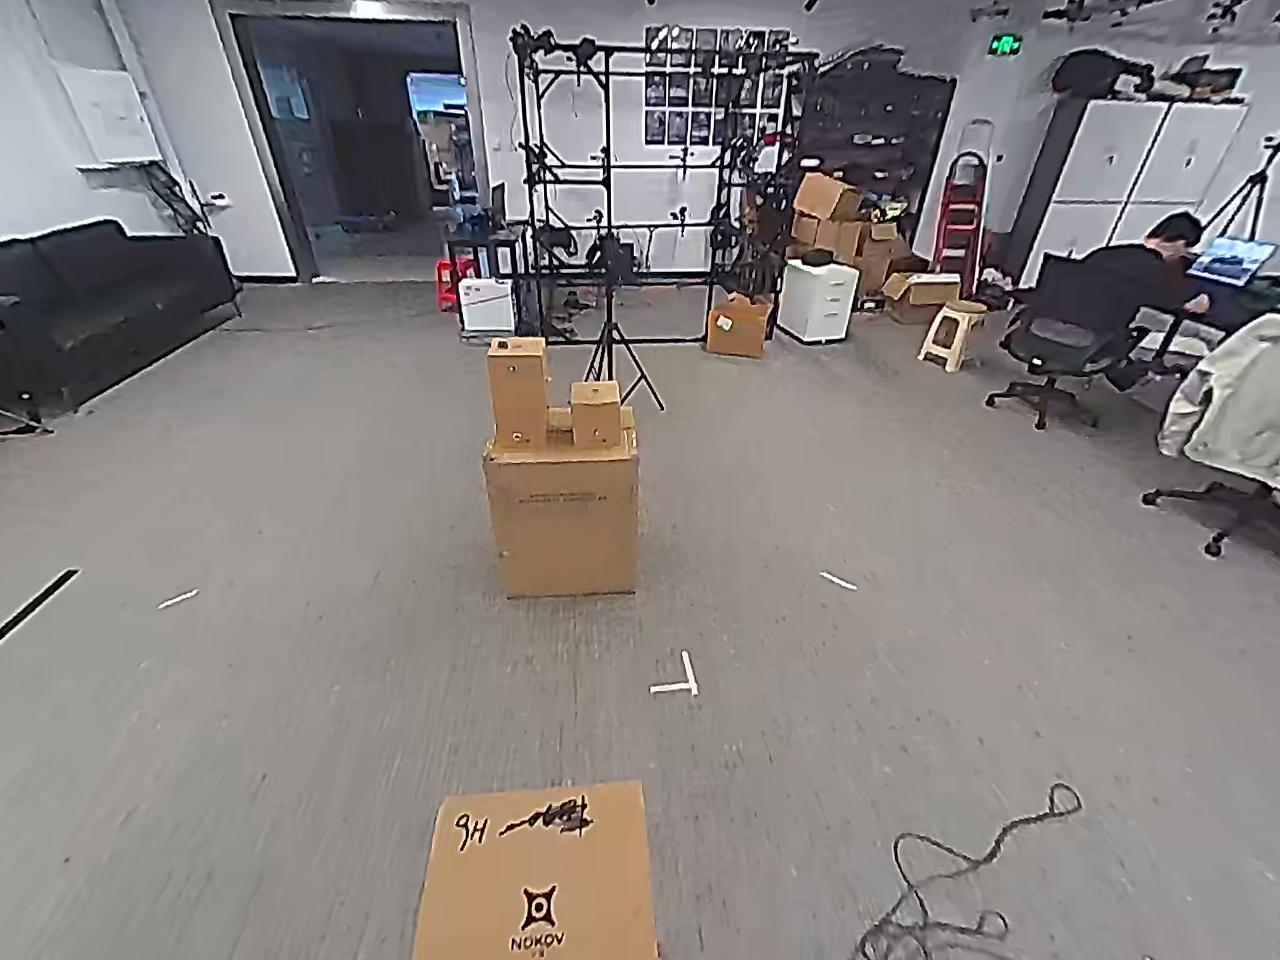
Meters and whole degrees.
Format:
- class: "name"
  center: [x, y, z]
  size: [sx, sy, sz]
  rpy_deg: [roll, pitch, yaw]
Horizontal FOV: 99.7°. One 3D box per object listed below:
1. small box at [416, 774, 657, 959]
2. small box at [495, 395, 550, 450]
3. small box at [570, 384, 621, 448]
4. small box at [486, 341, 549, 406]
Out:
- class: "small box"
  center: [-0.071, 0.366, 0.436]
  size: [0.168, 0.176, 0.179]
  rpy_deg: [-4, 42, -4]
- class: "small box"
  center: [-0.408, -0.219, 1.901]
  size: [0.168, 0.176, 0.179]
  rpy_deg: [-3, 35, -4]
- class: "small box"
  center: [-0.155, -0.228, 1.914]
  size: [0.168, 0.176, 0.179]
  rpy_deg: [-4, 34, -3]
- class: "small box"
  center: [-0.404, -0.354, 1.808]
  size: [0.179, 0.176, 0.168]
  rpy_deg: [-2, 34, -5]
